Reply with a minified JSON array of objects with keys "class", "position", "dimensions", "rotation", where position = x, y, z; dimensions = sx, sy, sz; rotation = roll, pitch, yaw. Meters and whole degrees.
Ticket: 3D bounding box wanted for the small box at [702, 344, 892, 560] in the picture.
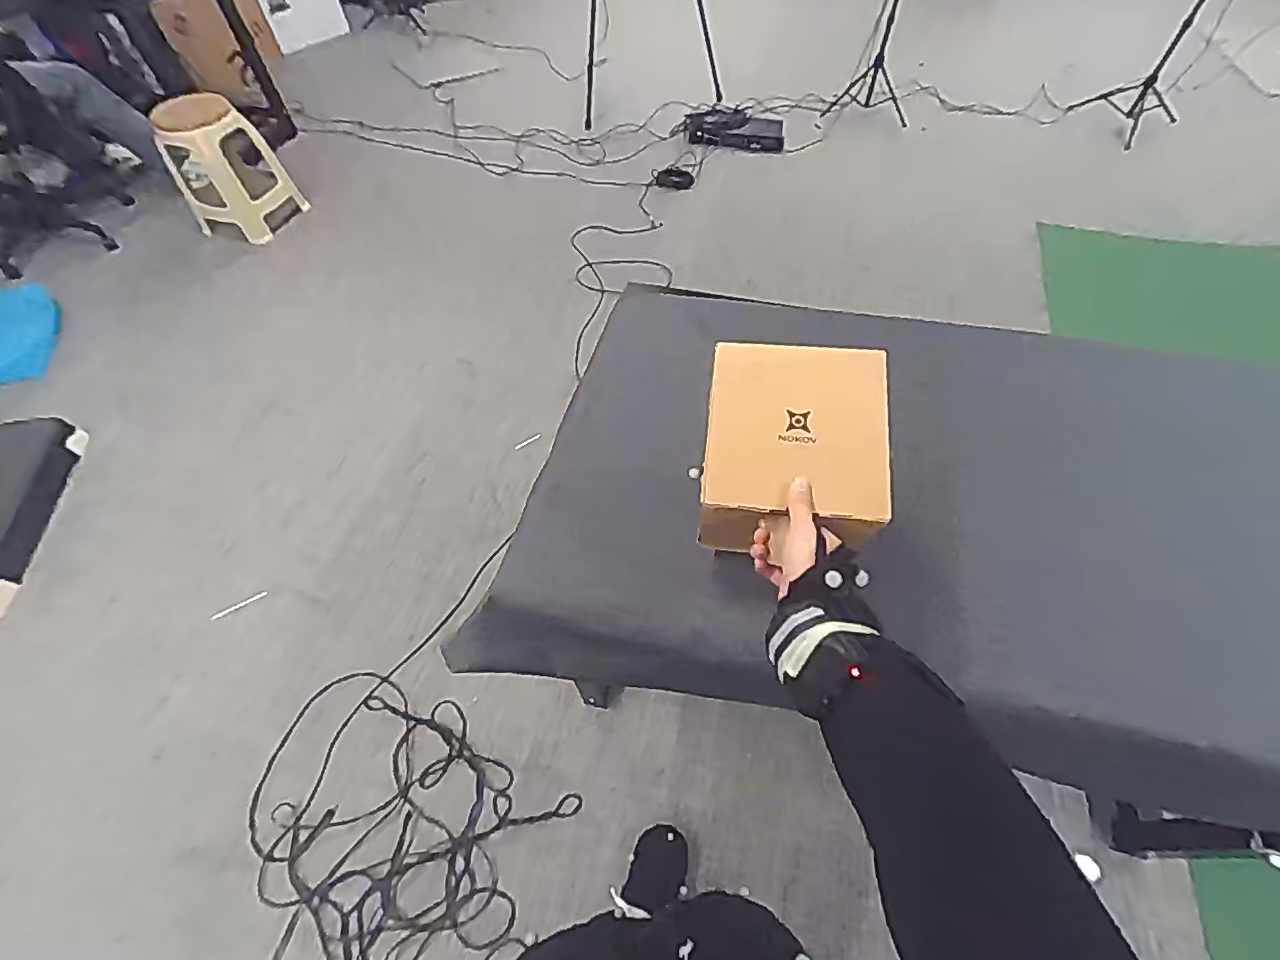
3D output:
[{"class":"small box","position":[0.157,-0.023,0.586],"dimensions":[0.168,0.176,0.179],"rotation":[5,70,7]}]
